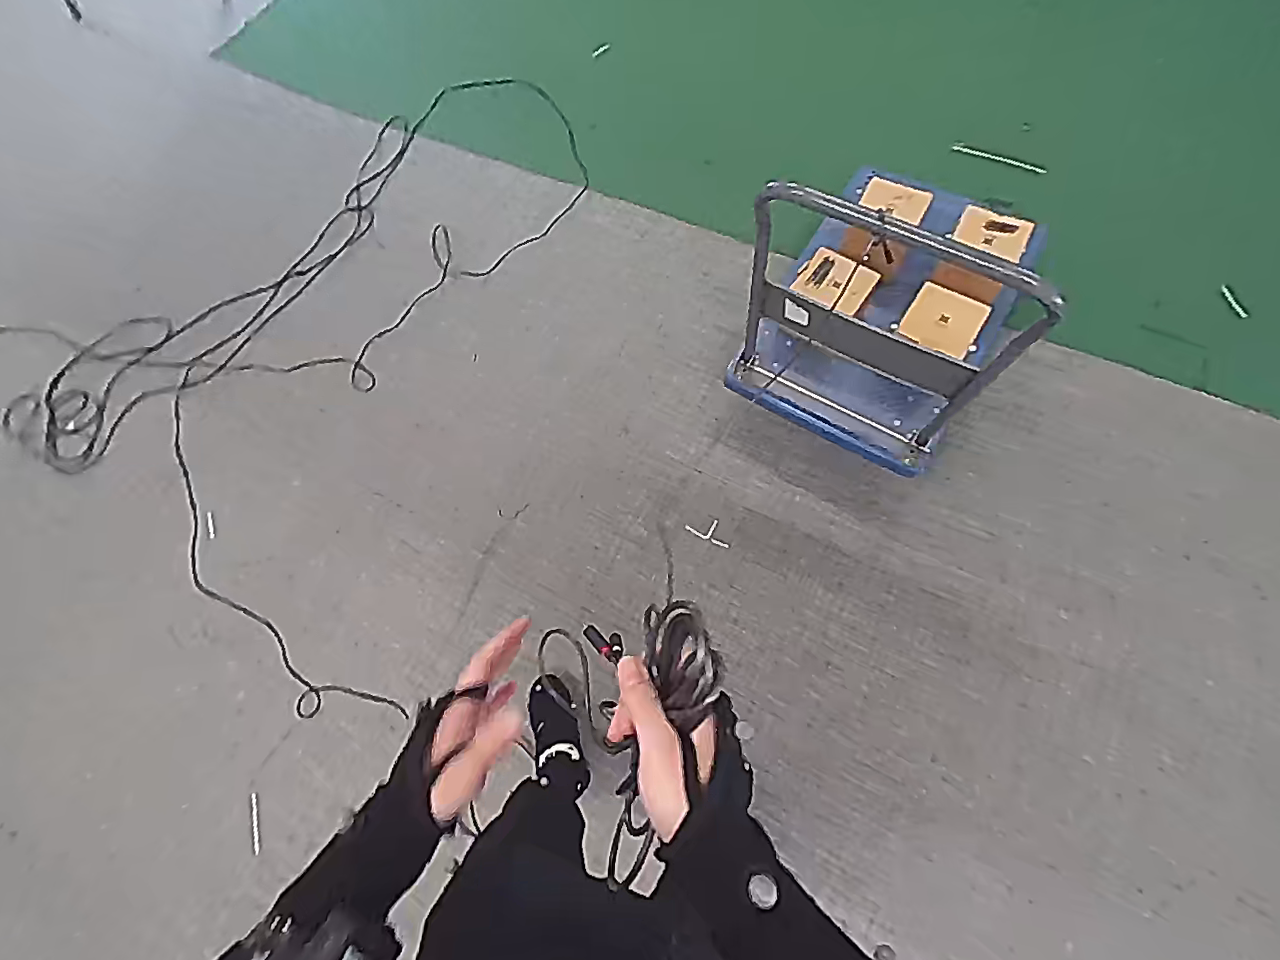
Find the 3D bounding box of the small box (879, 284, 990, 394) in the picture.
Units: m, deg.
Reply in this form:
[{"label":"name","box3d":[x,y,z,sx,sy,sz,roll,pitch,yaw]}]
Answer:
[{"label":"small box","box3d":[0.737,-0.354,1.375,0.168,0.176,0.179,31,78,16]}]

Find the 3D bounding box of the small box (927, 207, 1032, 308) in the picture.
[{"label":"small box","box3d":[0.884,-0.573,1.431,0.168,0.176,0.179,27,77,16]}]

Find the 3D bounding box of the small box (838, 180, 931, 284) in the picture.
[{"label":"small box","box3d":[0.666,-0.680,1.496,0.168,0.176,0.179,27,76,14]}]
